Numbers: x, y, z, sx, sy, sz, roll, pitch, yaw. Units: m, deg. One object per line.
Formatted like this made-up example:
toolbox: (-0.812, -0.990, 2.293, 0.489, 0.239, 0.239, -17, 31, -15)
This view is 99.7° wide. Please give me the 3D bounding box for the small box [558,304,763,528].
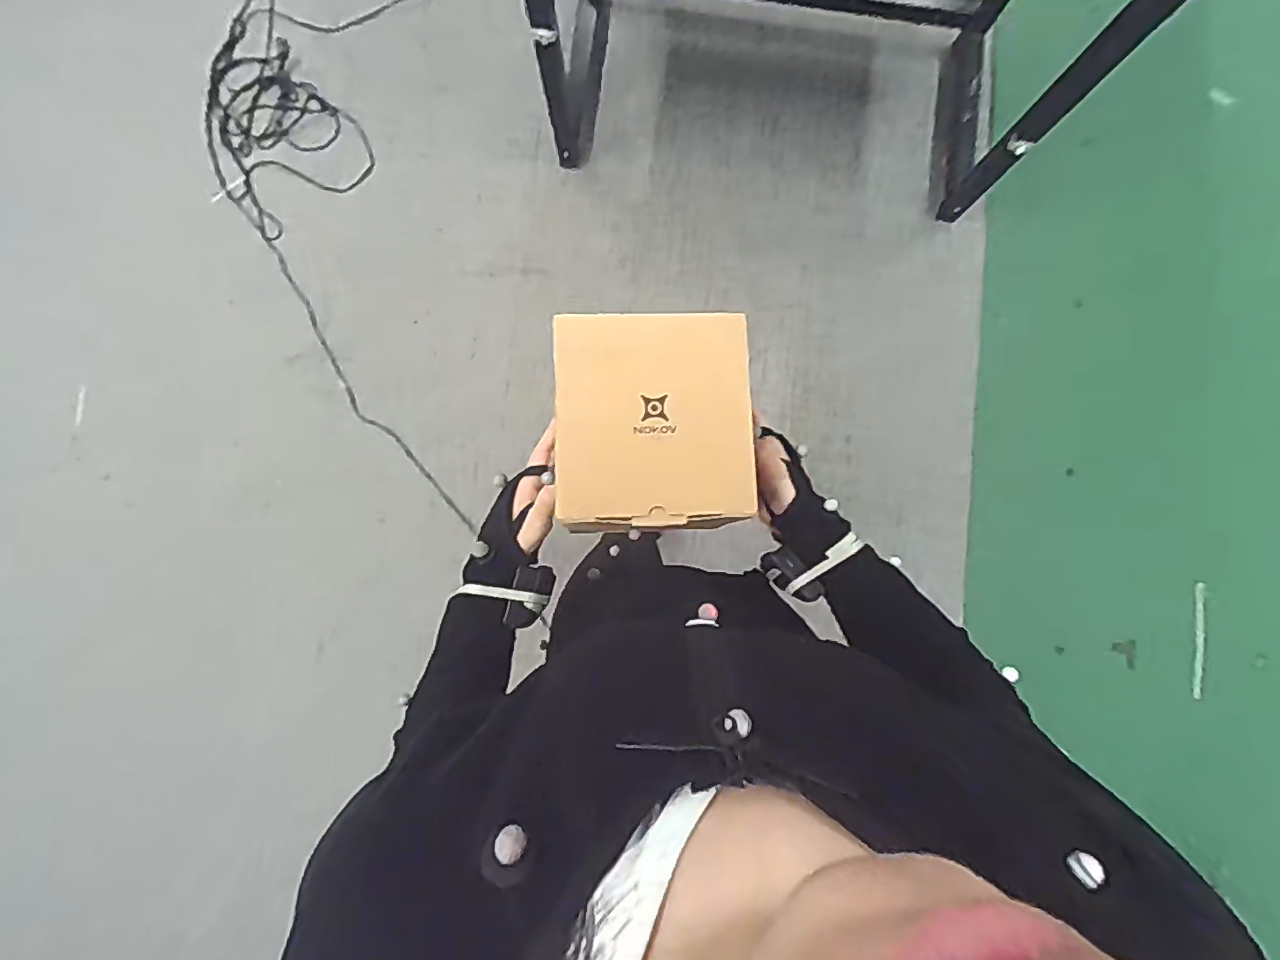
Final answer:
small box: (0.009, -0.049, 0.519, 0.168, 0.176, 0.179, -2, 82, -4)
